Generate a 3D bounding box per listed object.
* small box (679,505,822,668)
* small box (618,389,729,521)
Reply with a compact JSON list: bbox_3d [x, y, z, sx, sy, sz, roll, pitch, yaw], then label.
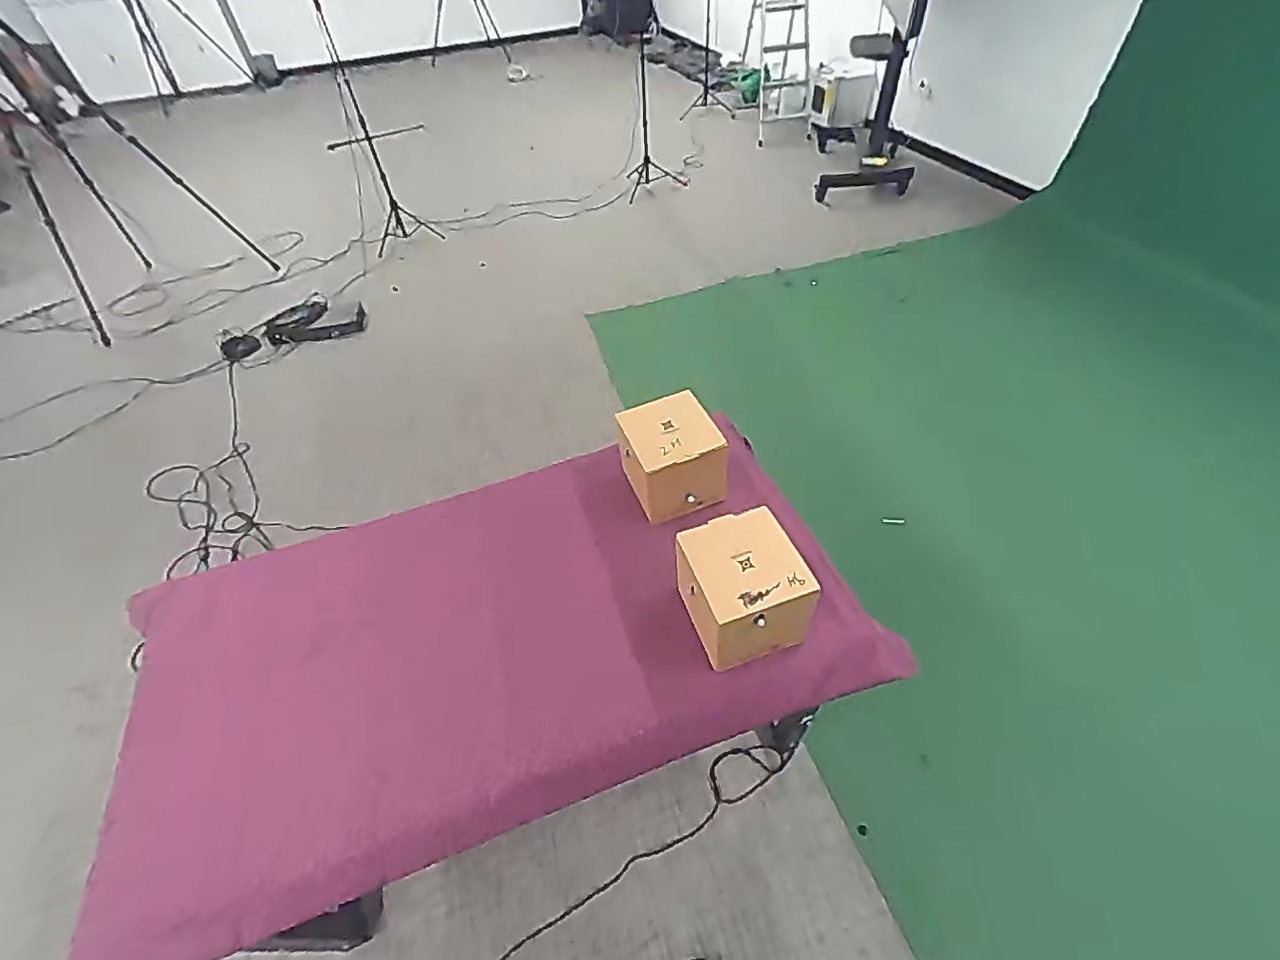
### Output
[{"bbox_3d":[0.170,0.175,0.889,0.168,0.176,0.179,-17,47,-9],"label":"small box"},{"bbox_3d":[0.066,-0.049,1.092,0.168,0.176,0.179,-20,51,-9],"label":"small box"}]
